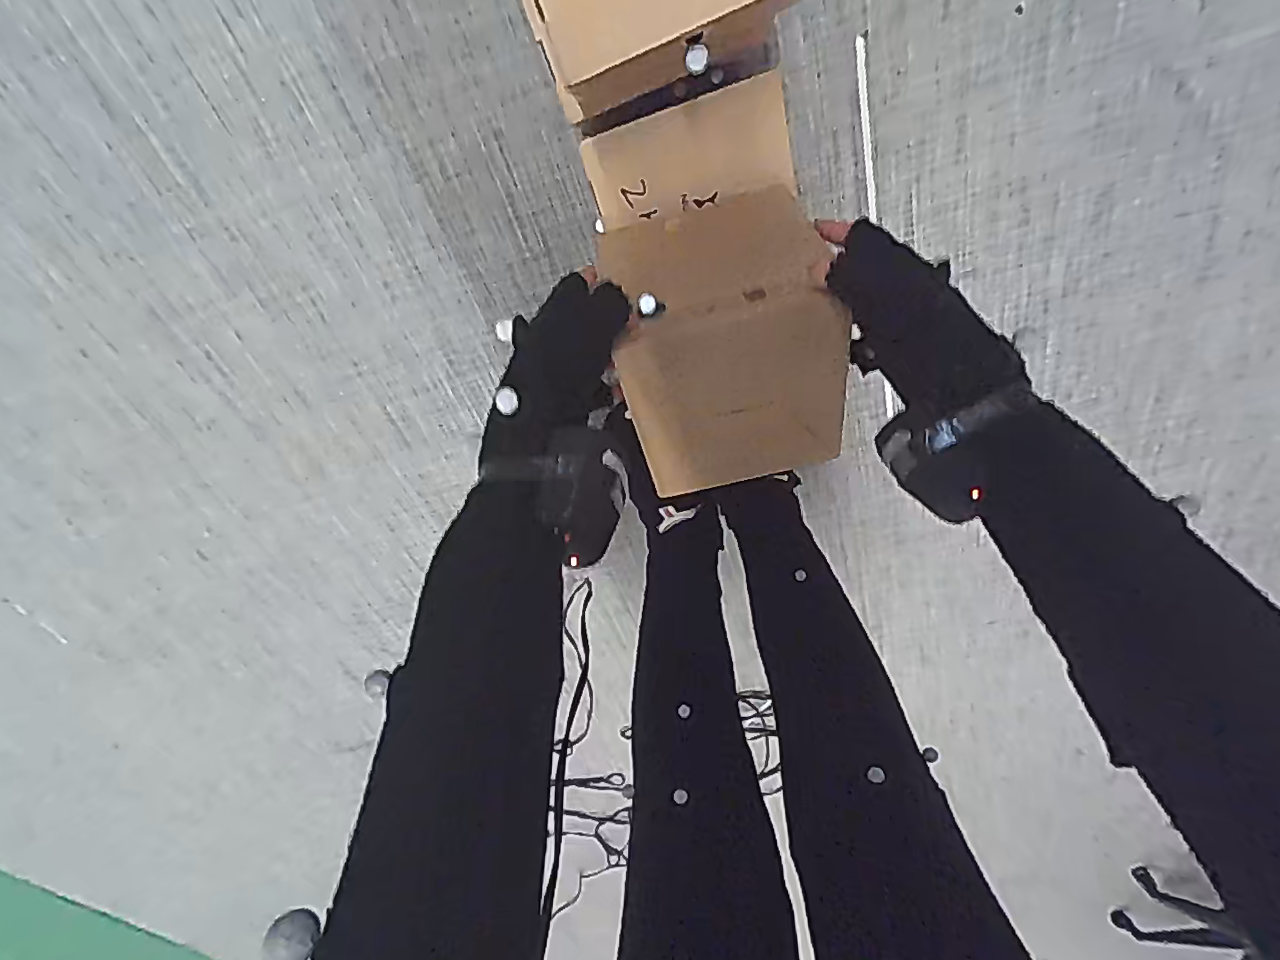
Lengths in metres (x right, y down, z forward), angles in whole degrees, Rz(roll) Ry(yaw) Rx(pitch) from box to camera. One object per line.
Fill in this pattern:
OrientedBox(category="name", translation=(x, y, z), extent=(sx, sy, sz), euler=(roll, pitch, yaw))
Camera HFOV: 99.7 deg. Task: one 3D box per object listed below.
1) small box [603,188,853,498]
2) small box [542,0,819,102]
OrientedBox(category="small box", translation=(0.074, -0.112, 0.473), extent=(0.168, 0.176, 0.179), euler=(-13, 141, 7))
OrientedBox(category="small box", translation=(0.015, -0.352, 0.321), extent=(0.179, 0.176, 0.168), euler=(-17, 122, 10))
